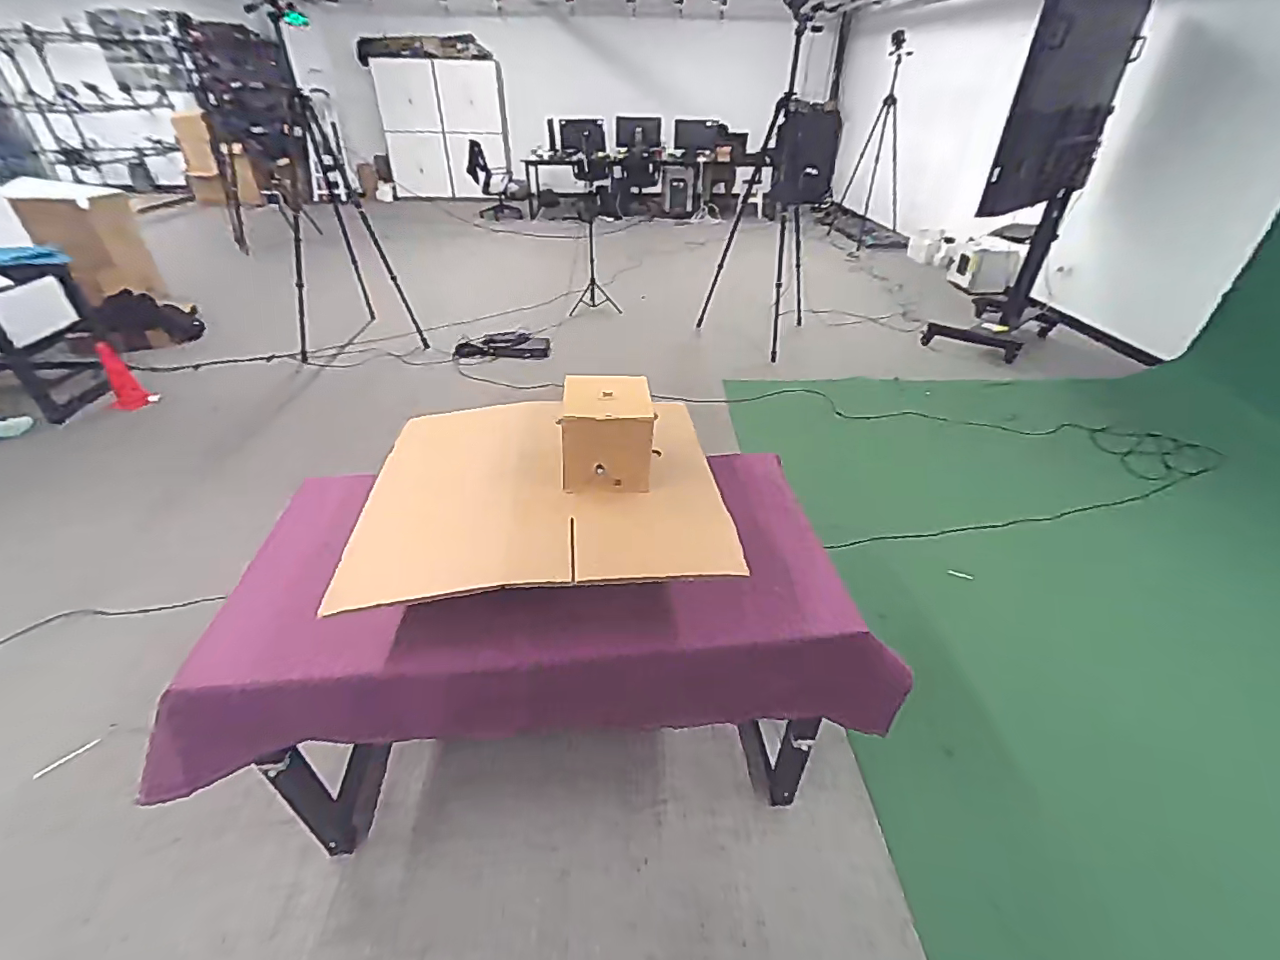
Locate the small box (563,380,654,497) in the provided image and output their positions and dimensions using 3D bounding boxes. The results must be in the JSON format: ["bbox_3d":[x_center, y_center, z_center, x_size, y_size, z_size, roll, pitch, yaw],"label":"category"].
[{"bbox_3d":[-0.066,-0.085,1.077,0.168,0.176,0.179,0,36,-5],"label":"small box"}]
